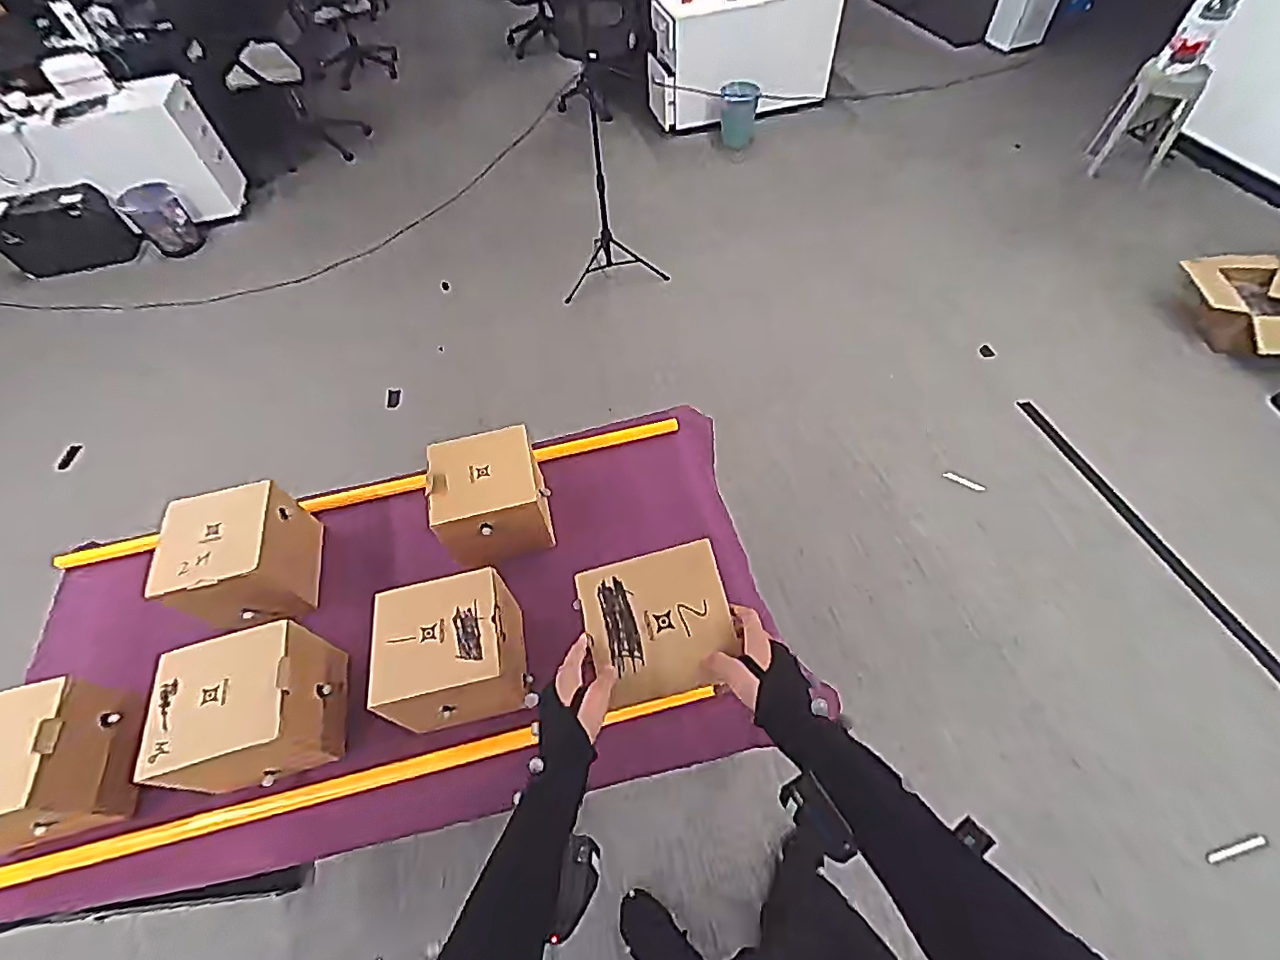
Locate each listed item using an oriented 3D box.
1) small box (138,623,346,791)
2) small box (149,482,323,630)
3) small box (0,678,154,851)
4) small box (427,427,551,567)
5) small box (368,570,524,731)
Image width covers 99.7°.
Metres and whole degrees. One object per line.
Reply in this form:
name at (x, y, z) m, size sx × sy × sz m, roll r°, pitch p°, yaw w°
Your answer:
small box at (-0.553, 0.332, 0.784) m, size 0.179 × 0.176 × 0.168 m, roll -15°, pitch 56°, yaw -7°
small box at (-0.672, 0.134, 0.927) m, size 0.168 × 0.176 × 0.179 m, roll -14°, pitch 58°, yaw -5°
small box at (-0.839, 0.399, 0.755) m, size 0.179 × 0.176 × 0.168 m, roll -13°, pitch 55°, yaw -8°
small box at (-0.263, 0.034, 0.968) m, size 0.179 × 0.176 × 0.168 m, roll -14°, pitch 57°, yaw -5°
small box at (-0.278, 0.260, 0.813) m, size 0.179 × 0.176 × 0.168 m, roll -13°, pitch 54°, yaw -3°
